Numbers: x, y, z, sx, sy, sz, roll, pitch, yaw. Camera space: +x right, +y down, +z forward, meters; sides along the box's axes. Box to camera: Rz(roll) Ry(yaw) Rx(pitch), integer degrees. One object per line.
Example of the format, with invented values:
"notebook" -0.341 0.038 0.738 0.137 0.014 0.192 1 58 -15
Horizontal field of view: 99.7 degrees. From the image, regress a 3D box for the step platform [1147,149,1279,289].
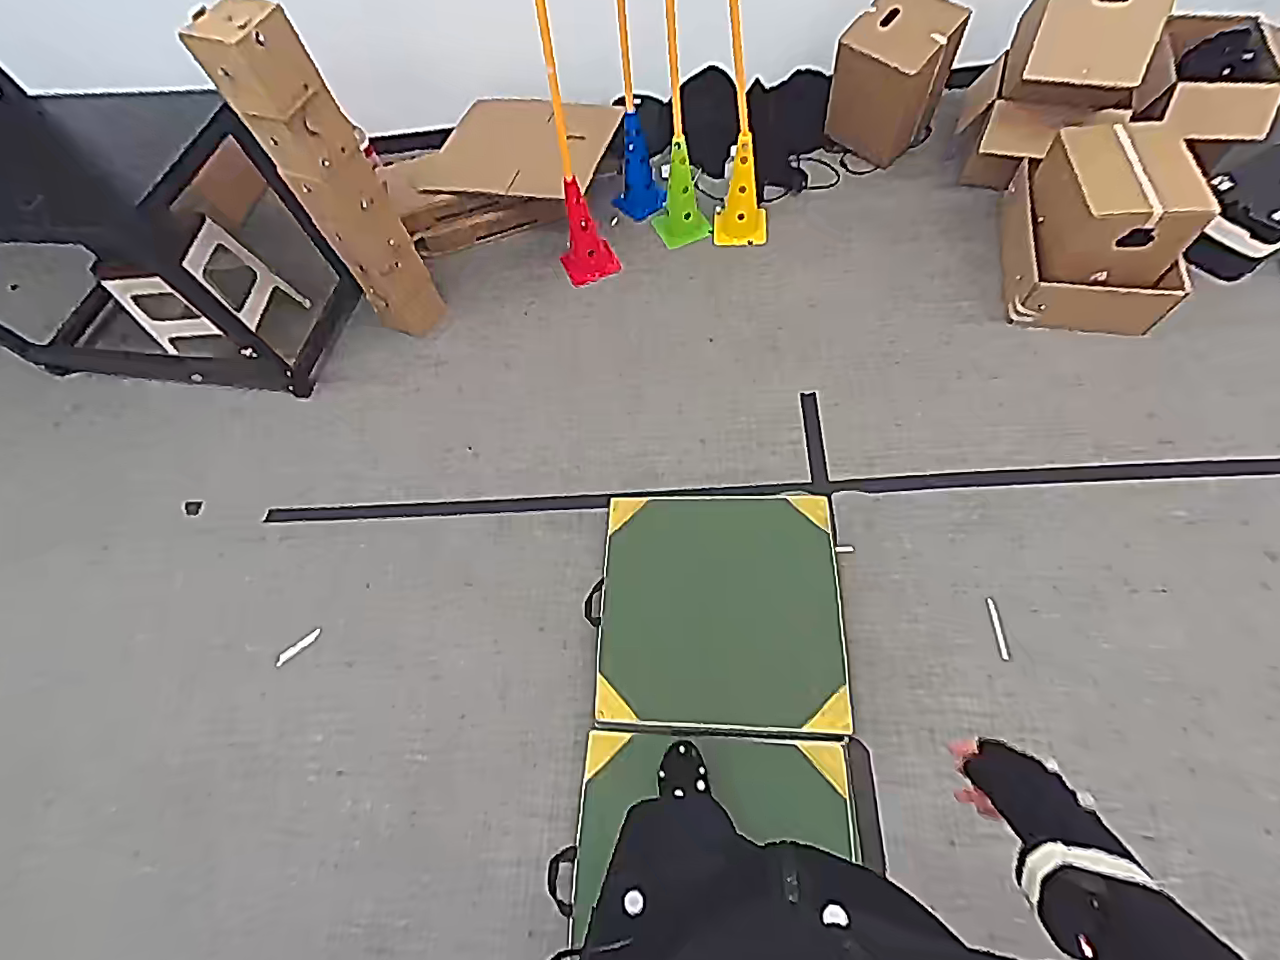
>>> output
"step platform" 2.095 -0.904 1.783 0.684 0.204 0.286 -28 63 -7
